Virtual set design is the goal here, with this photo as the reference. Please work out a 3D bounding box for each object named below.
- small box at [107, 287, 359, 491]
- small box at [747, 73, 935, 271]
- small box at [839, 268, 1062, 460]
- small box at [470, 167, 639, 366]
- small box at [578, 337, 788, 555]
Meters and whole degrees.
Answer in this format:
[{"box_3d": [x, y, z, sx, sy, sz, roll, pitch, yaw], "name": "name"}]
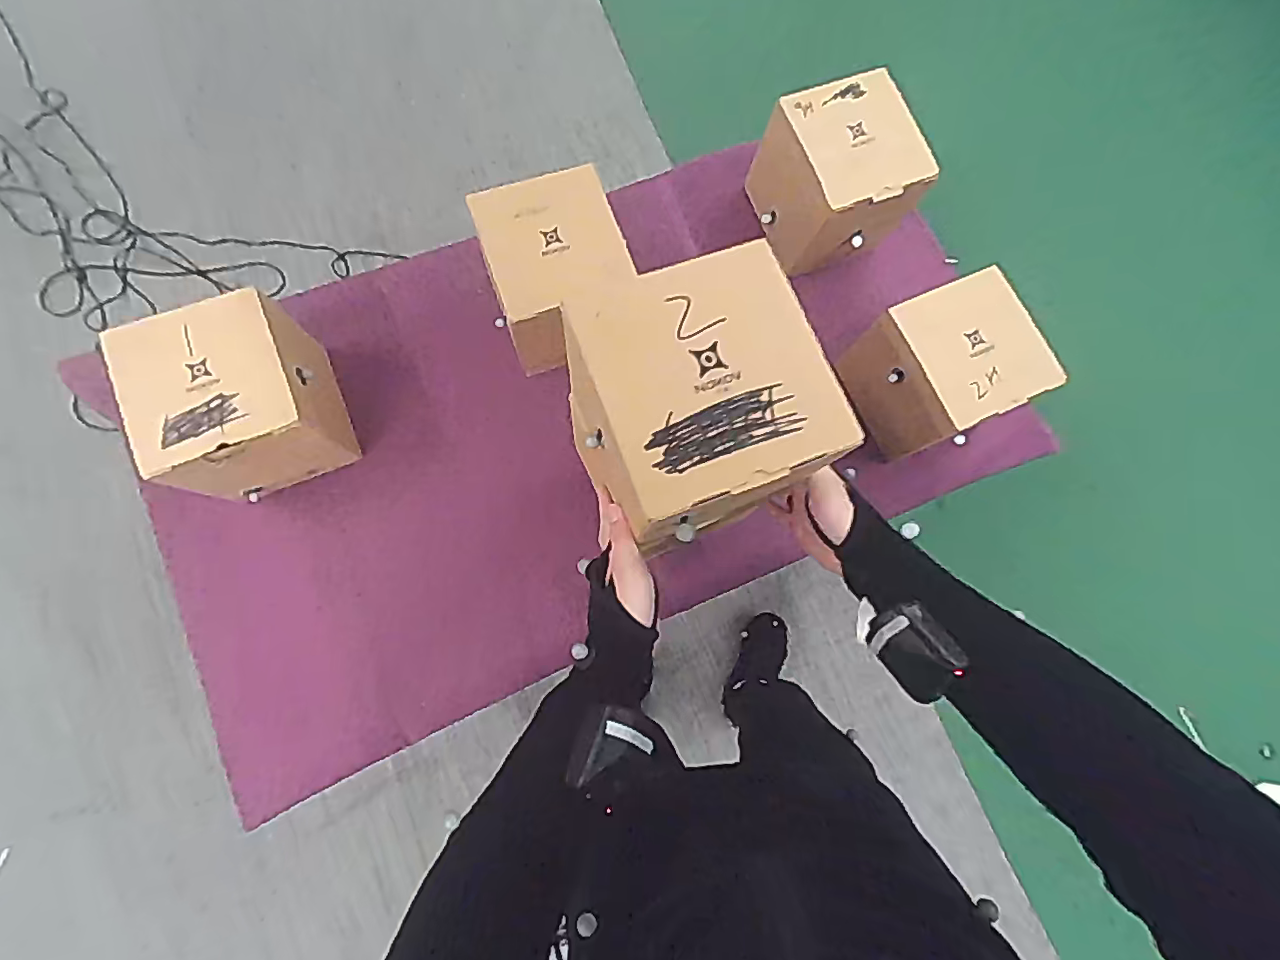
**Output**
[{"box_3d": [-0.477, -0.096, 0.662, 0.168, 0.176, 0.179, -22, 81, -9], "name": "small box"}, {"box_3d": [0.281, -0.434, 0.793, 0.168, 0.176, 0.179, -21, 84, -8], "name": "small box"}, {"box_3d": [0.407, -0.149, 0.745, 0.168, 0.176, 0.179, -23, 81, -7], "name": "small box"}, {"box_3d": [-0.110, -0.272, 0.731, 0.168, 0.176, 0.179, -19, 81, -9], "name": "small box"}, {"box_3d": [0.034, -0.027, 0.617, 0.168, 0.176, 0.179, -22, 80, -10], "name": "small box"}]
